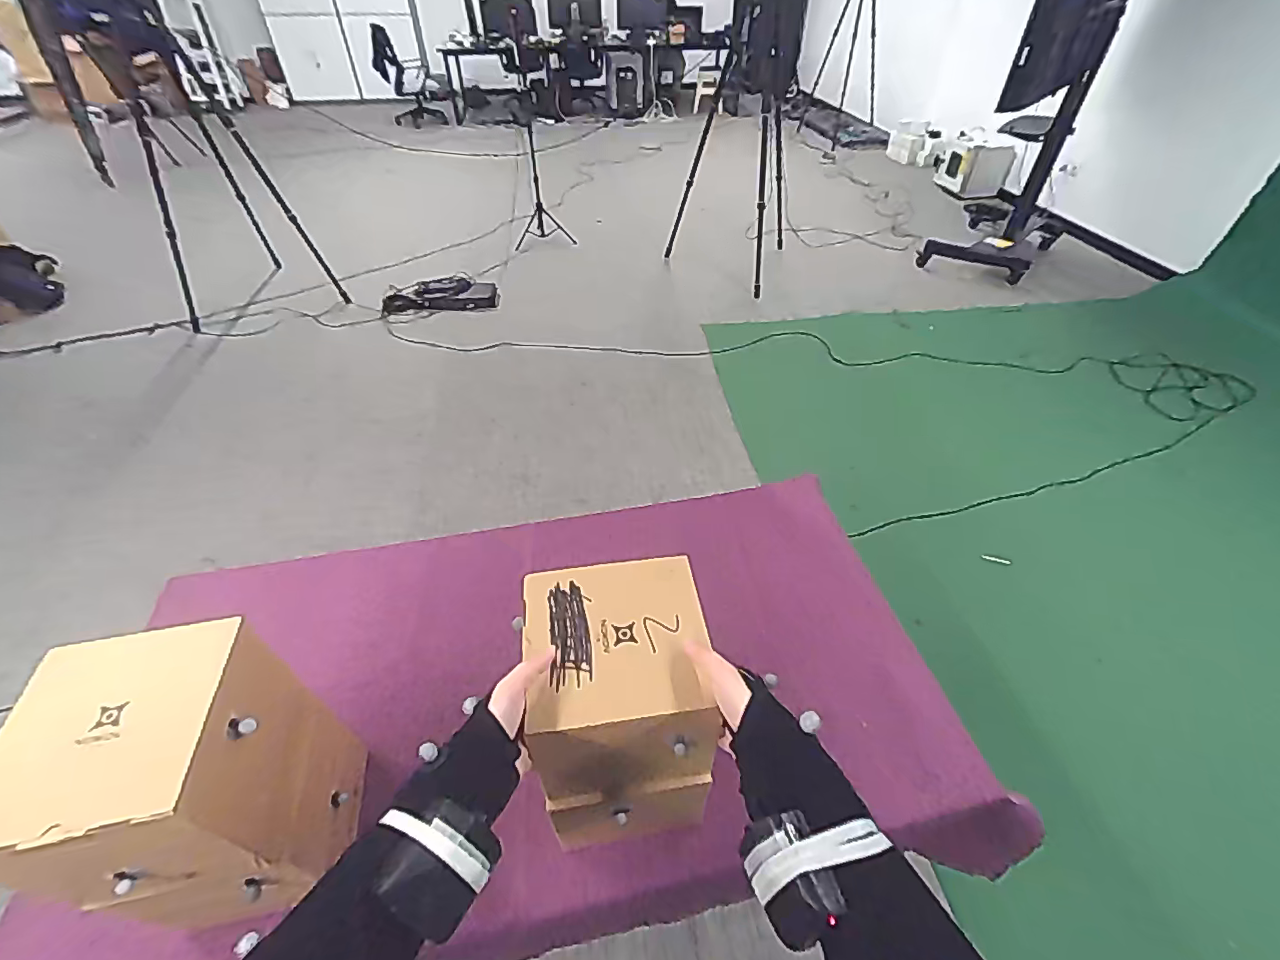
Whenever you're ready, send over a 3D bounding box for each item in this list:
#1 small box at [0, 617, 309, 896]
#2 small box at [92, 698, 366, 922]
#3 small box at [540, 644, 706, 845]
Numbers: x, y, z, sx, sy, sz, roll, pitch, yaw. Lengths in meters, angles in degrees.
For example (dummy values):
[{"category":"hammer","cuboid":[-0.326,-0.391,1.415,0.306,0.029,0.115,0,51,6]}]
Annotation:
[{"category":"small box","cuboid":[-0.447,0.261,0.516,0.168,0.176,0.179,-8,46,-8]},{"category":"small box","cuboid":[-0.442,0.381,0.626,0.179,0.176,0.168,-8,44,-9]},{"category":"small box","cuboid":[-0.024,0.331,0.675,0.179,0.176,0.168,-7,45,-7]}]
